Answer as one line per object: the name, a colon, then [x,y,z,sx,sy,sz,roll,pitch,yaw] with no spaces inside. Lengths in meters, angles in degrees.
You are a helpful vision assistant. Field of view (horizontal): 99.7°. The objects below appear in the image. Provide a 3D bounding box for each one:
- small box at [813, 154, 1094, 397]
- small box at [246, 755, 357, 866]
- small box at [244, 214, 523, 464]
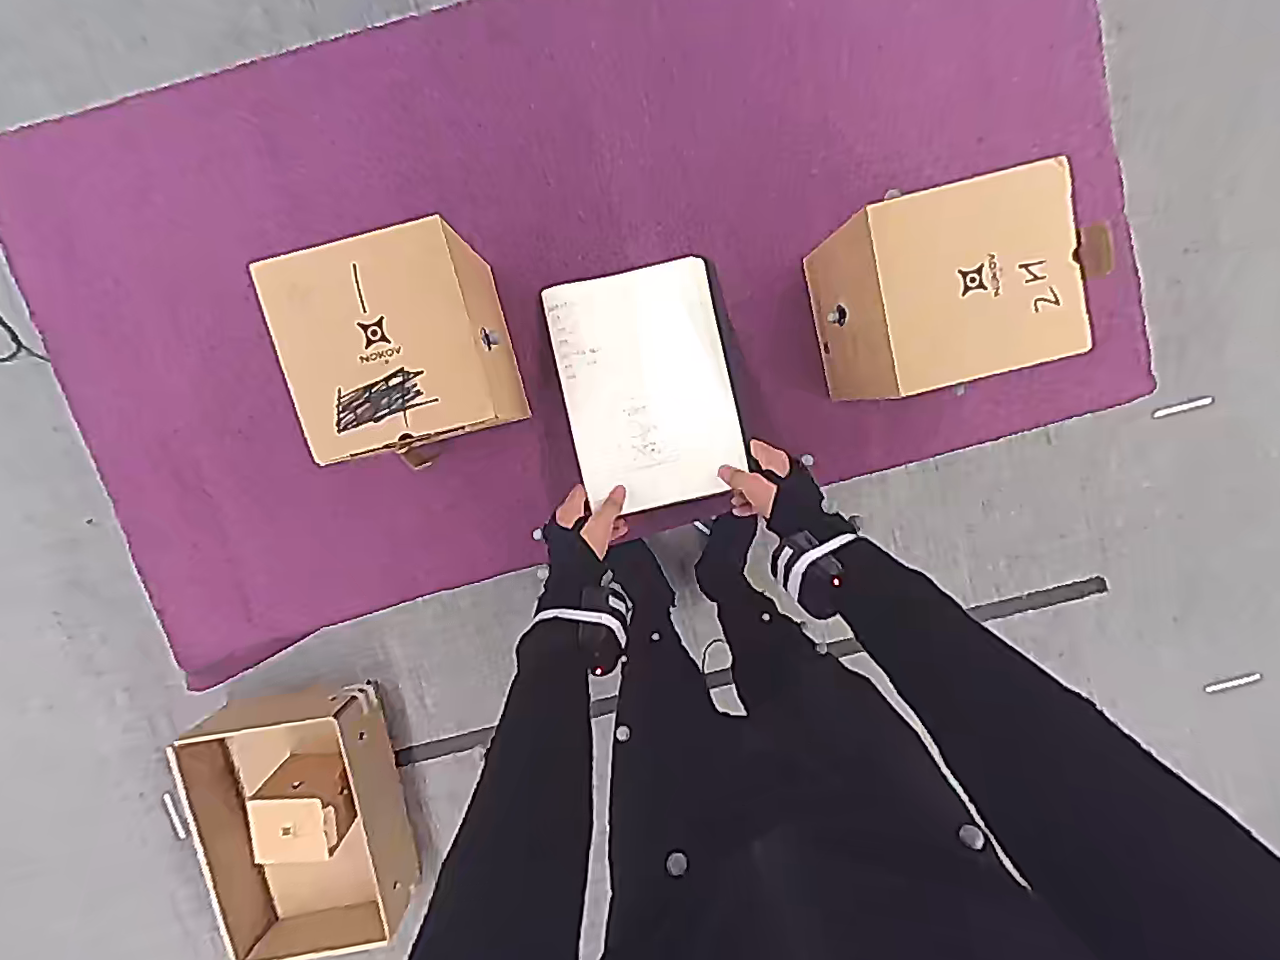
small box: [0.285,-0.181,0.534,0.179,0.176,0.168,-14,98,0]
small box: [-0.814,0.800,1.324,0.179,0.176,0.168,-1,98,-2]
small box: [-0.225,-0.126,0.529,0.168,0.176,0.179,-14,97,0]
